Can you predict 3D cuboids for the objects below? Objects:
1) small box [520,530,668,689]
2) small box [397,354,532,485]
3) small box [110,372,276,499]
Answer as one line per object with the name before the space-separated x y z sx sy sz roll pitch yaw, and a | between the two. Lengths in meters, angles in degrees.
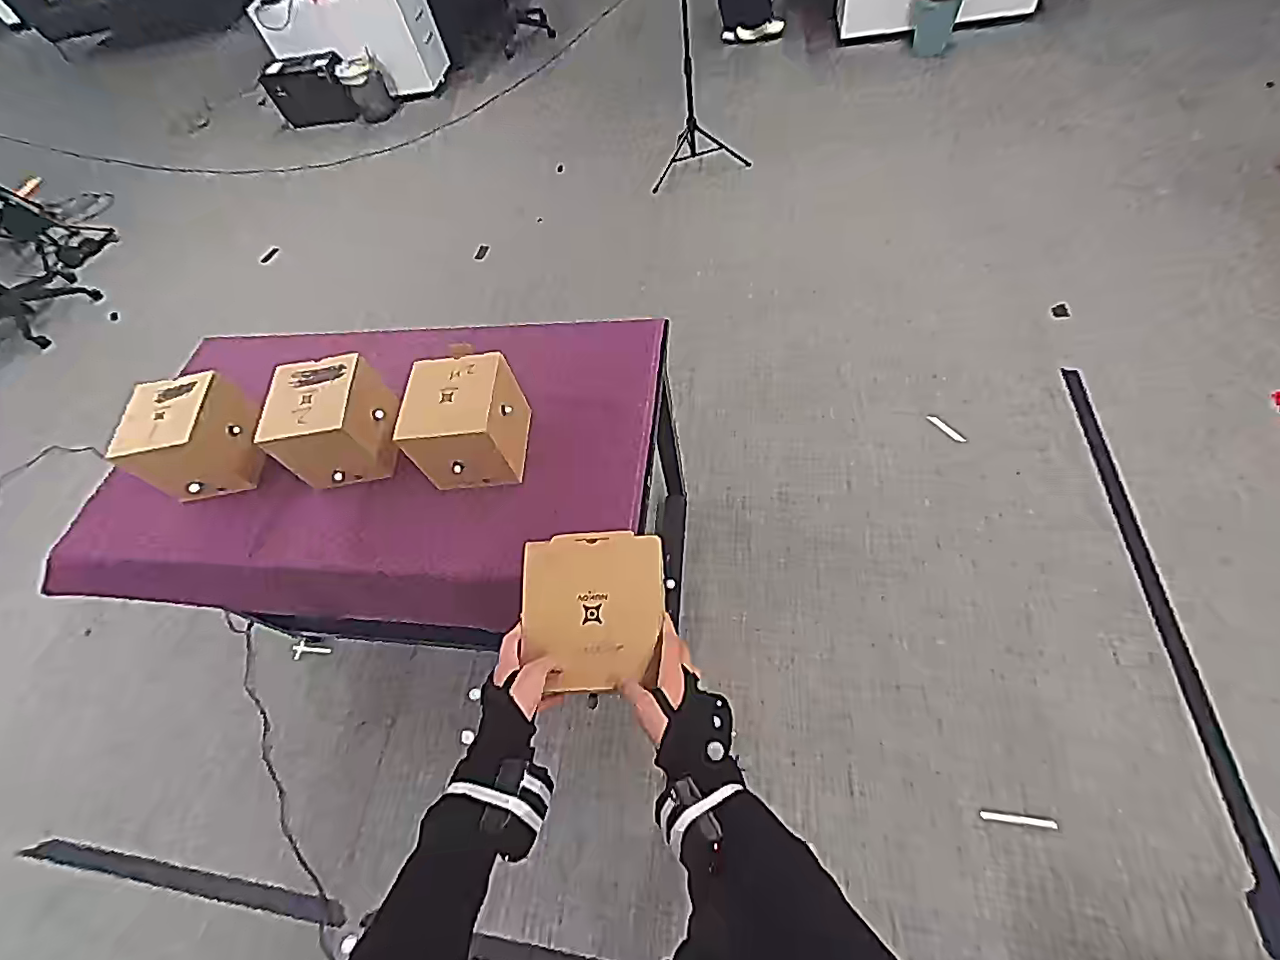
small box | -0.049 0.175 0.704 0.168 0.176 0.179 -2 67 3
small box | -0.306 -0.101 0.984 0.168 0.176 0.179 -4 58 8
small box | -0.872 -0.085 1.077 0.168 0.176 0.179 -10 58 4
